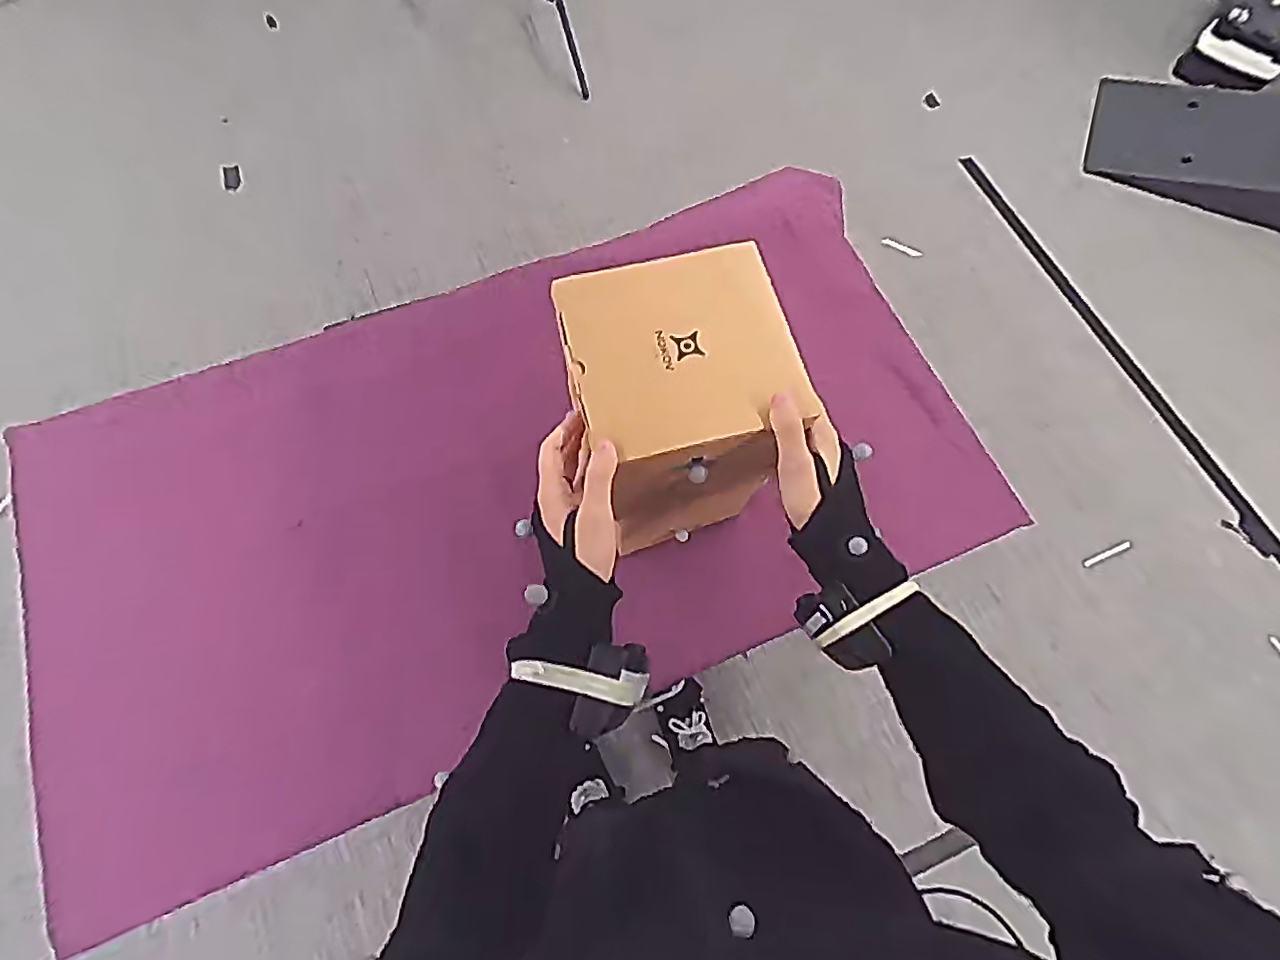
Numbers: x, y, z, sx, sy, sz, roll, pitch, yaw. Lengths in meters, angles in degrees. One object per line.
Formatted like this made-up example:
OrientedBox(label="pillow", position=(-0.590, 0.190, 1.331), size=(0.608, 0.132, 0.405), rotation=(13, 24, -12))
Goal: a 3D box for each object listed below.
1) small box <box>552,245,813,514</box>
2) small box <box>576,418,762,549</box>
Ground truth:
OrientedBox(label="small box", position=(0.028, -0.079, 0.498), size=(0.179, 0.176, 0.168), rotation=(-13, 74, -5))
OrientedBox(label="small box", position=(0.021, -0.033, 0.653), size=(0.168, 0.176, 0.179), rotation=(-18, 74, -7))
